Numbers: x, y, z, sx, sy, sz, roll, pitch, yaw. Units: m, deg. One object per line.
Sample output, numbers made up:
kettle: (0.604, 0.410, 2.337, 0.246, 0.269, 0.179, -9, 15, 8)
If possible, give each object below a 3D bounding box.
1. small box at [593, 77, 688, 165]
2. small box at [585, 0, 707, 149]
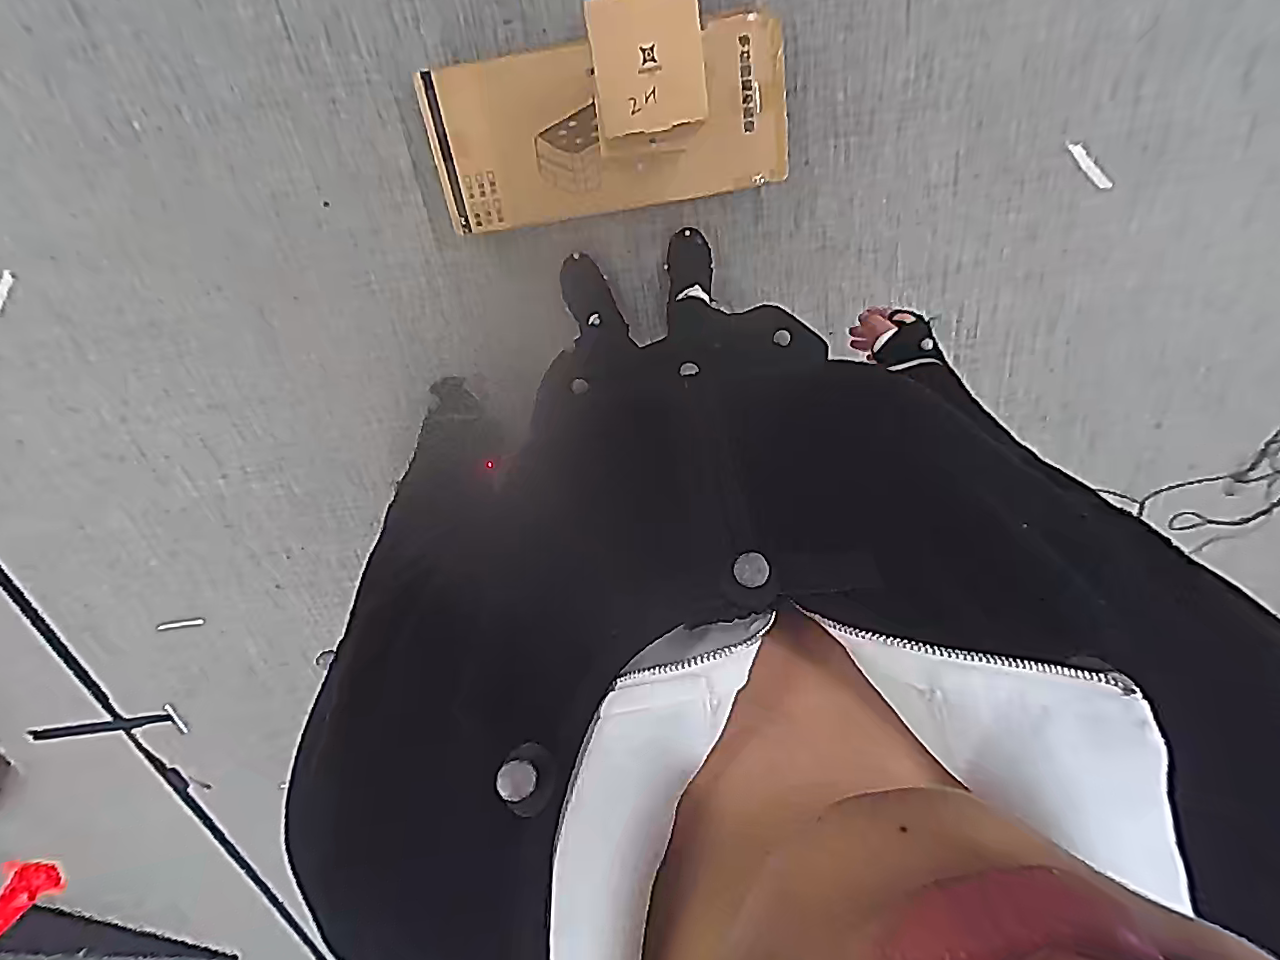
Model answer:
small box: (-0.002, -0.718, 1.035, 0.168, 0.176, 0.179, -6, 116, 1)
small box: (0.008, -0.661, 0.879, 0.168, 0.176, 0.179, -9, 115, 2)
